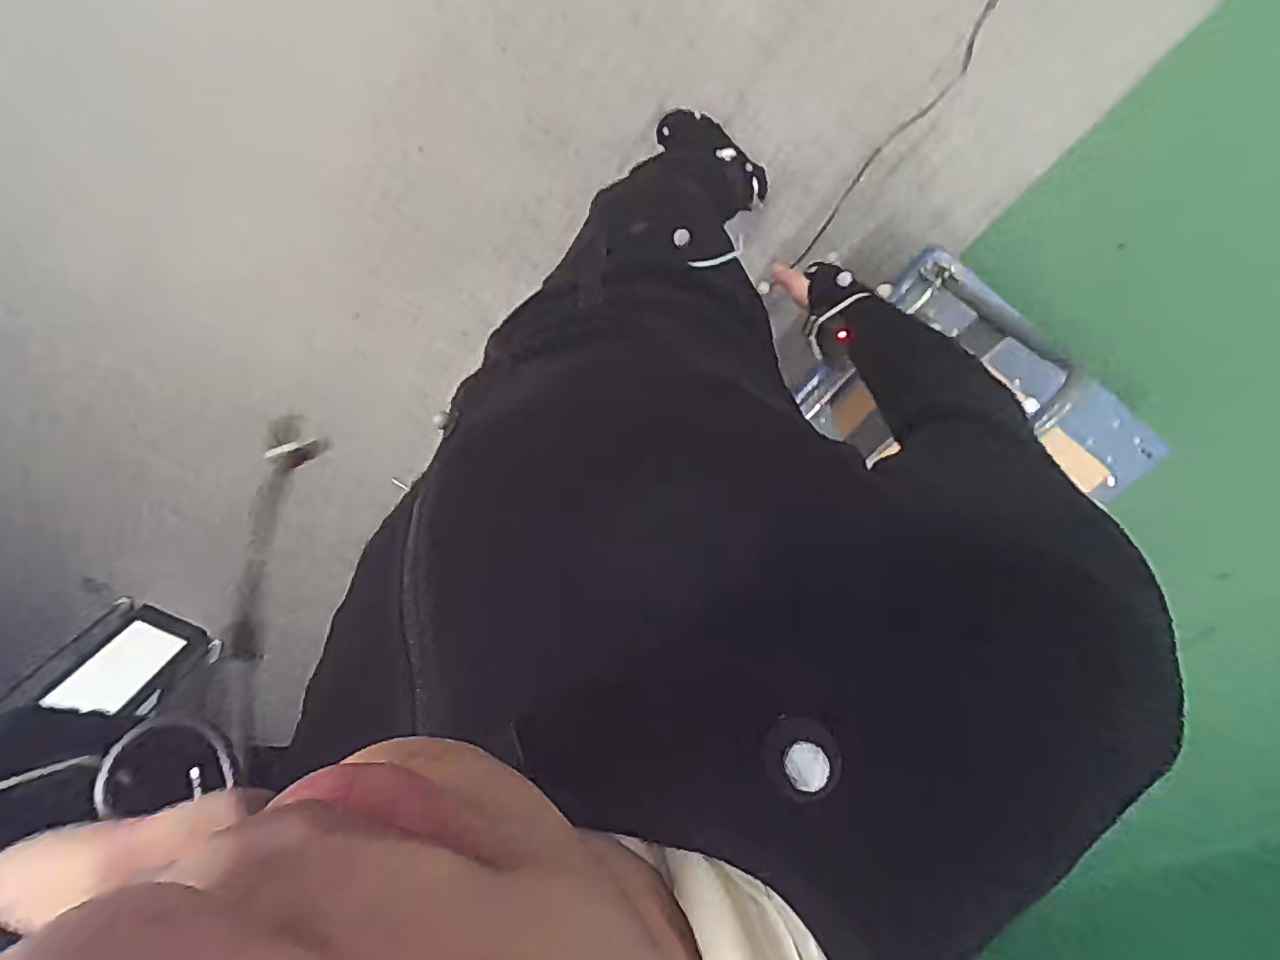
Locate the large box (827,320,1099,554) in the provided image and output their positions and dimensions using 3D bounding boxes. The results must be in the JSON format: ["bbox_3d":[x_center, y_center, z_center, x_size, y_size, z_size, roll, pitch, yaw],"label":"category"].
[{"bbox_3d":[0.720,-0.107,1.273,0.408,0.320,0.320,33,121,-15],"label":"large box"}]
